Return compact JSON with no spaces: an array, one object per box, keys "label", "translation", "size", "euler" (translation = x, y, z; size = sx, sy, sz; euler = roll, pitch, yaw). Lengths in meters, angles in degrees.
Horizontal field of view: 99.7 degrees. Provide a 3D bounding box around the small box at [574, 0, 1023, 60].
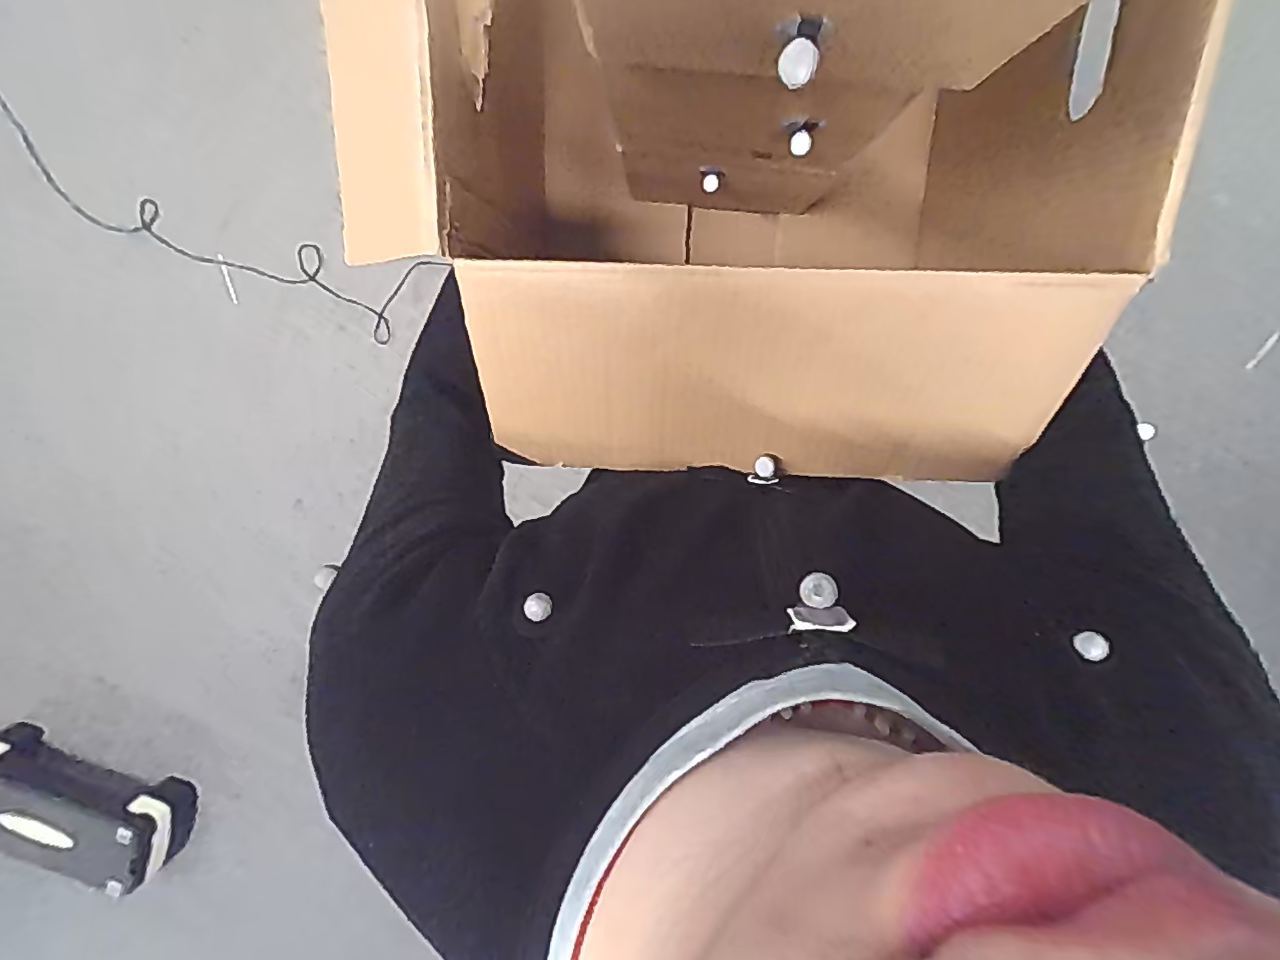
[{"label":"small box","translation":[0.062,-0.240,0.136],"size":[0.179,0.176,0.168],"euler":[4,106,0]}]
